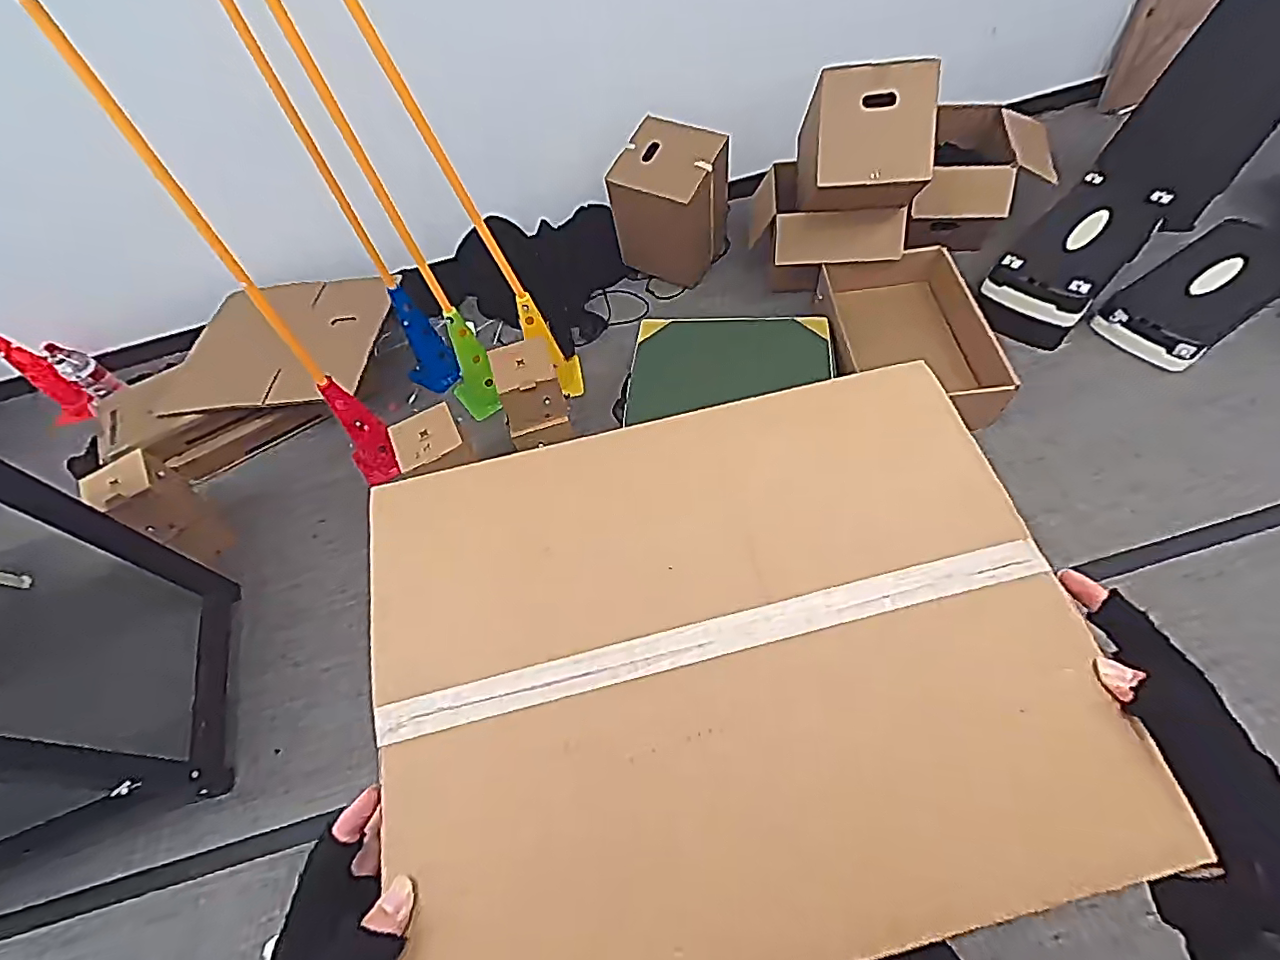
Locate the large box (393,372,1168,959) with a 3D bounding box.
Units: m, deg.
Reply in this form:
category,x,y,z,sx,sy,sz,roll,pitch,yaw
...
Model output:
category,x,y,z,sx,sy,sz,roll,pitch,yaw
large box,0.058,0.163,0.467,0.408,0.320,0.320,-14,65,-3
